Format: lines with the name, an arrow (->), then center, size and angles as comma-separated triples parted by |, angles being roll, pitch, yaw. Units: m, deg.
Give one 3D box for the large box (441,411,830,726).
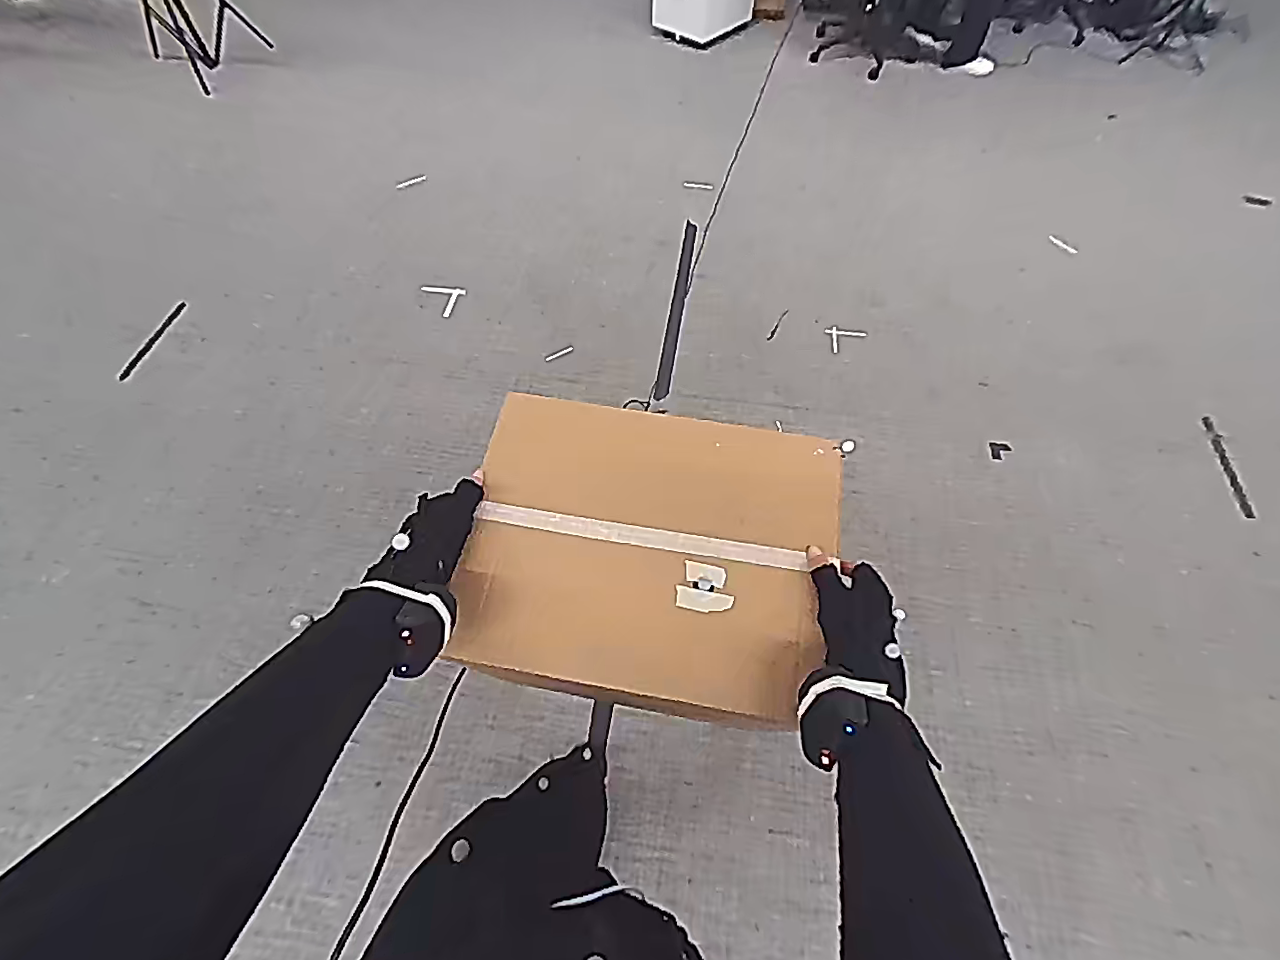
large box -> 0.009, 0.138, 0.741 | 0.408, 0.320, 0.320 | 9, 66, 4
